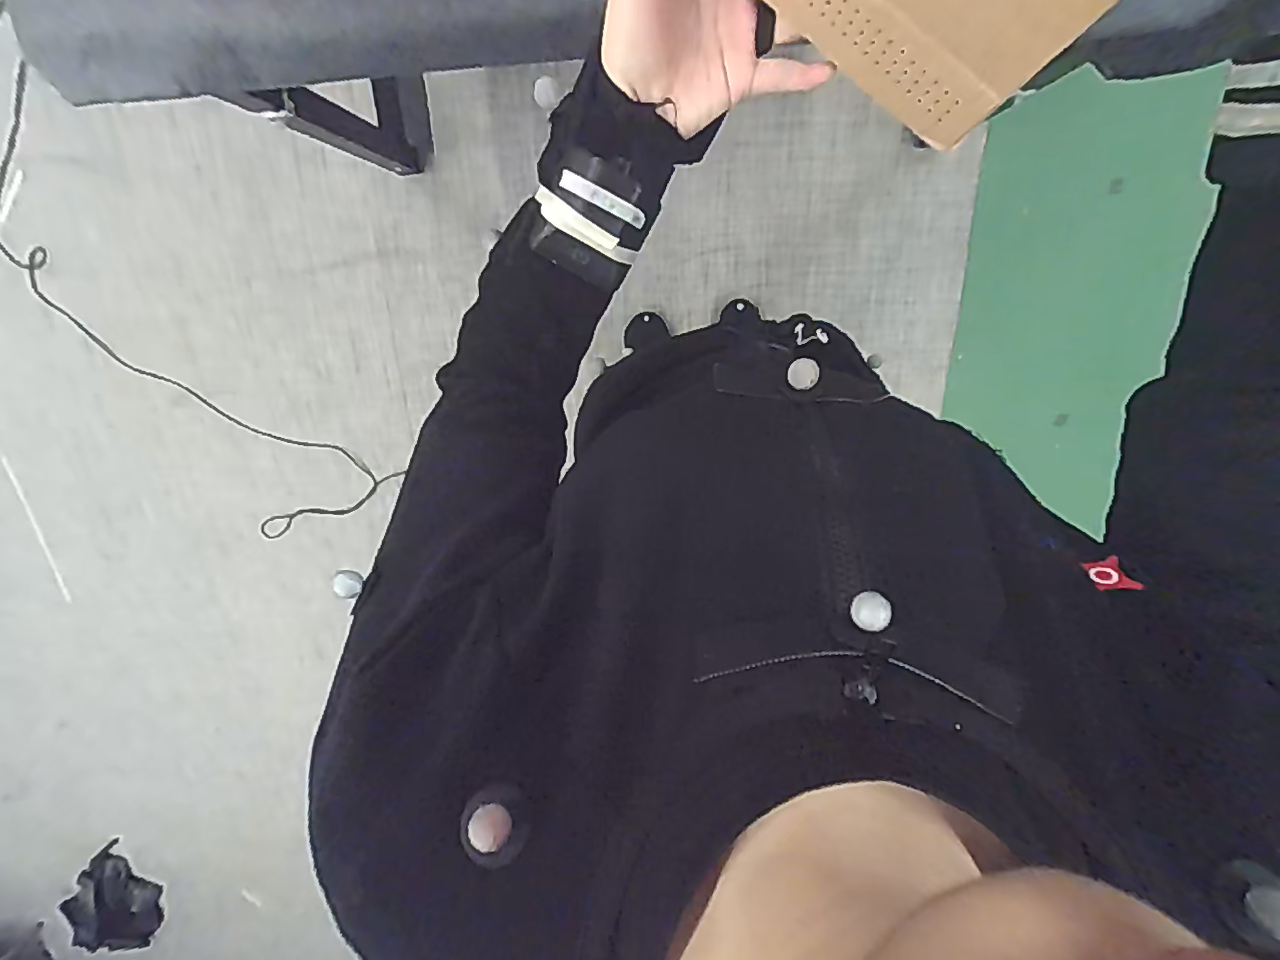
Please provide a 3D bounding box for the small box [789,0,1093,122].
[{"bbox_3d":[0.126,-0.267,0.169,0.179,0.176,0.168,36,94,-5],"label":"small box"}]
